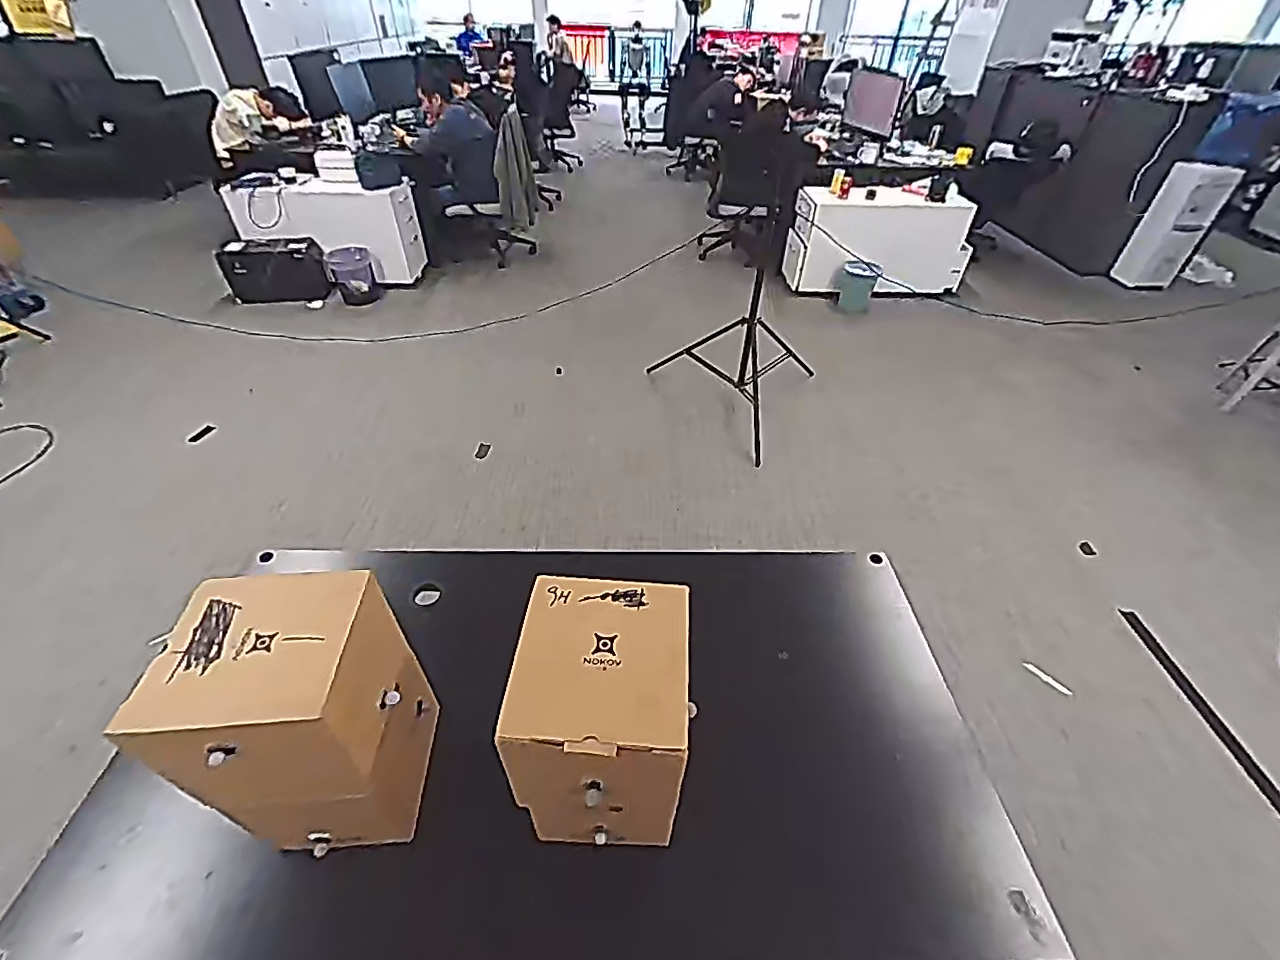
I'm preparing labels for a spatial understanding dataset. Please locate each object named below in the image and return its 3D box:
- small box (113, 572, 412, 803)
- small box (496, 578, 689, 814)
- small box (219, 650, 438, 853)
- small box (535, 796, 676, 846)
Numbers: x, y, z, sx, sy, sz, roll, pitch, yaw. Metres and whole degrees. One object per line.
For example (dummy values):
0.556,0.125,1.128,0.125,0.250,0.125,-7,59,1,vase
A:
-0.365,0.219,0.570,0.179,0.176,0.168,-3,42,-5,small box
-0.036,0.228,0.569,0.168,0.176,0.179,4,42,2,small box
-0.367,0.340,0.681,0.168,0.176,0.179,-3,43,-4,small box
-0.040,0.338,0.691,0.168,0.176,0.179,2,41,1,small box
